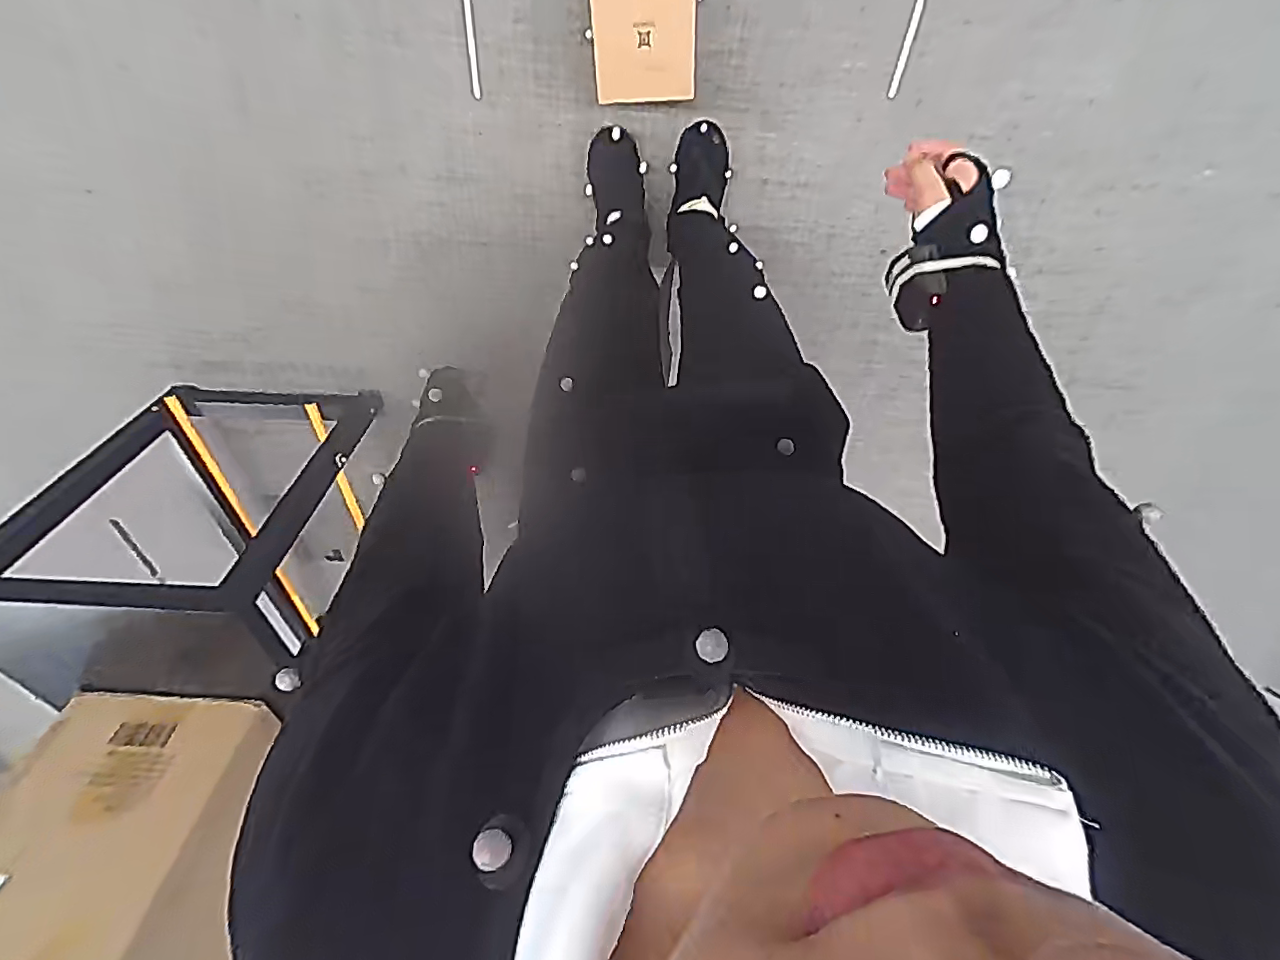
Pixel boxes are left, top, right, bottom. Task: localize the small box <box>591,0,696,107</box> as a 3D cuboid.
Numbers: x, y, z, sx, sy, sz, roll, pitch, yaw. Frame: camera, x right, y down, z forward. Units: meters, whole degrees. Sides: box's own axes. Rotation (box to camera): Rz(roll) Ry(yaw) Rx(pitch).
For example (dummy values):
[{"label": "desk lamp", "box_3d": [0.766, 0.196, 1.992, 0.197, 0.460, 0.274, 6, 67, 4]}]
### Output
[{"label": "small box", "box_3d": [0.008, -0.757, 0.921, 0.168, 0.176, 0.179, -1, 133, 4]}]
